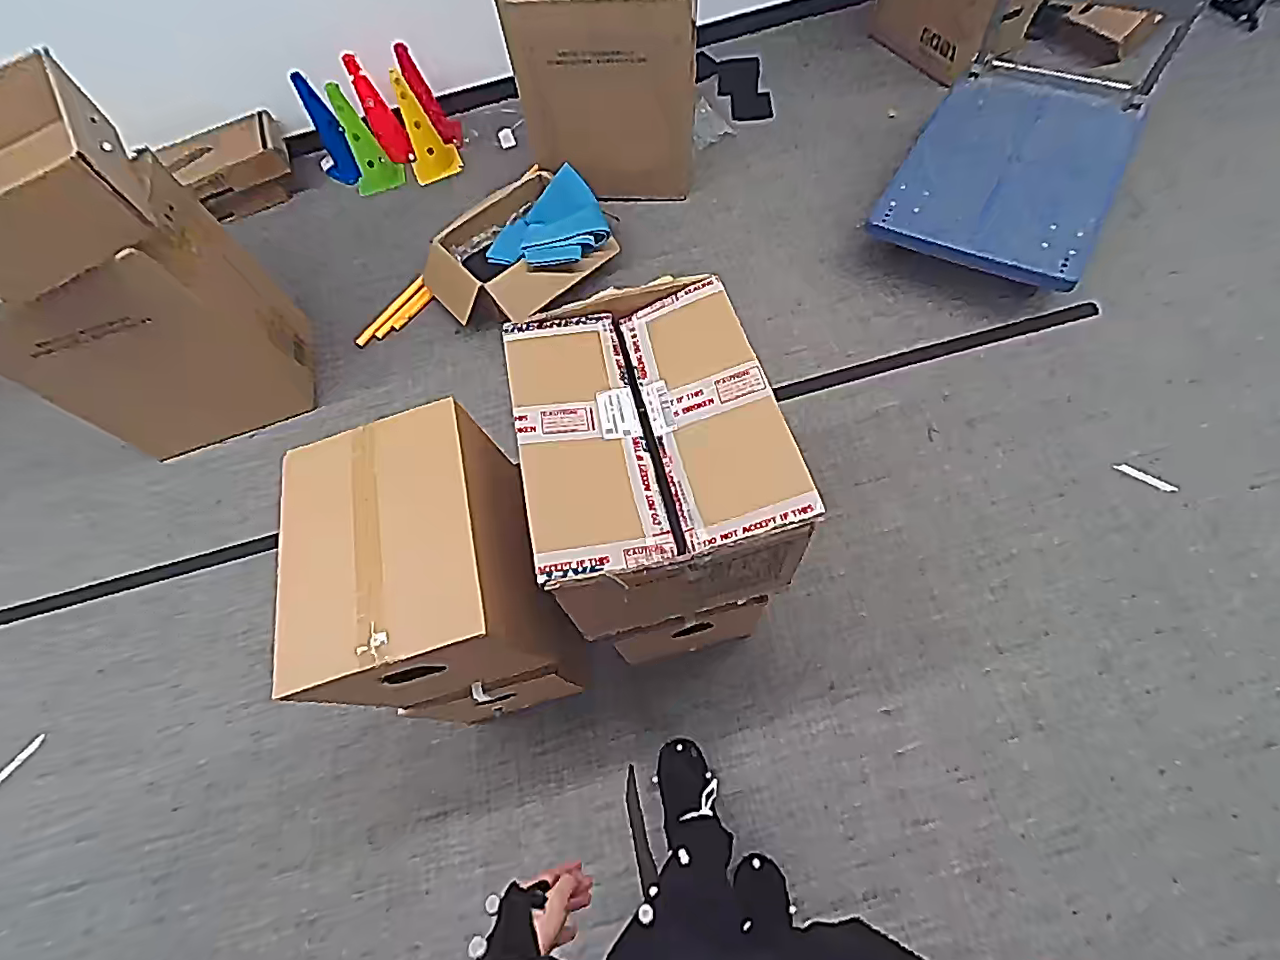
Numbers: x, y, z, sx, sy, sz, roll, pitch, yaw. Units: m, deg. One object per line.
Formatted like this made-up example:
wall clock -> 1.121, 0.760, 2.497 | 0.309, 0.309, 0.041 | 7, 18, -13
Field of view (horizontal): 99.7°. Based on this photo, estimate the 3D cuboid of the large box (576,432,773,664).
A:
large box -> 0.068, 0.165, 1.243 | 0.320, 0.320, 0.408 | -16, 63, -1
